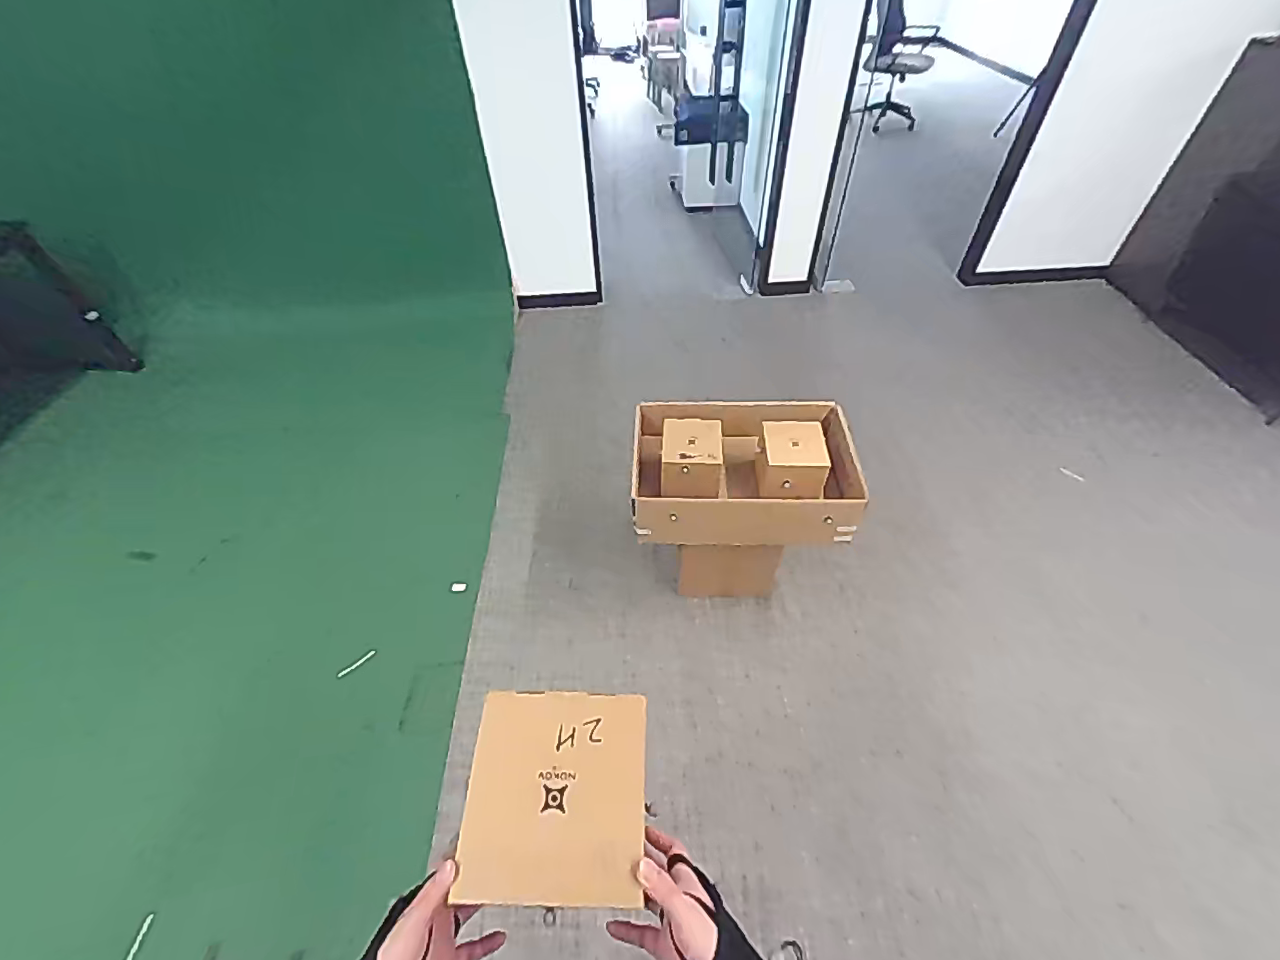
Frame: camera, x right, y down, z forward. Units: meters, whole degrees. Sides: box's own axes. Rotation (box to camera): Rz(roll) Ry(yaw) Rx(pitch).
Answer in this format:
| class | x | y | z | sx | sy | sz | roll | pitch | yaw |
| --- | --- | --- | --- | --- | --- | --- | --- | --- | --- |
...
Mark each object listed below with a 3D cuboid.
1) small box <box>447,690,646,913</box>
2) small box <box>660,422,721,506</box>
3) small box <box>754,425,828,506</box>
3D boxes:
| class | x | y | z | sx | sy | sz | roll | pitch | yaw |
| --- | --- | --- | --- | --- | --- | --- | --- | --- | --- |
| small box | -0.079 | 0.337 | 0.566 | 0.168 | 0.176 | 0.179 | 2 | 51 | 1 |
| small box | 0.145 | -0.046 | 1.557 | 0.168 | 0.176 | 0.179 | 2 | 47 | 5 |
| small box | 0.424 | -0.039 | 1.542 | 0.168 | 0.176 | 0.179 | 1 | 47 | 3 |
